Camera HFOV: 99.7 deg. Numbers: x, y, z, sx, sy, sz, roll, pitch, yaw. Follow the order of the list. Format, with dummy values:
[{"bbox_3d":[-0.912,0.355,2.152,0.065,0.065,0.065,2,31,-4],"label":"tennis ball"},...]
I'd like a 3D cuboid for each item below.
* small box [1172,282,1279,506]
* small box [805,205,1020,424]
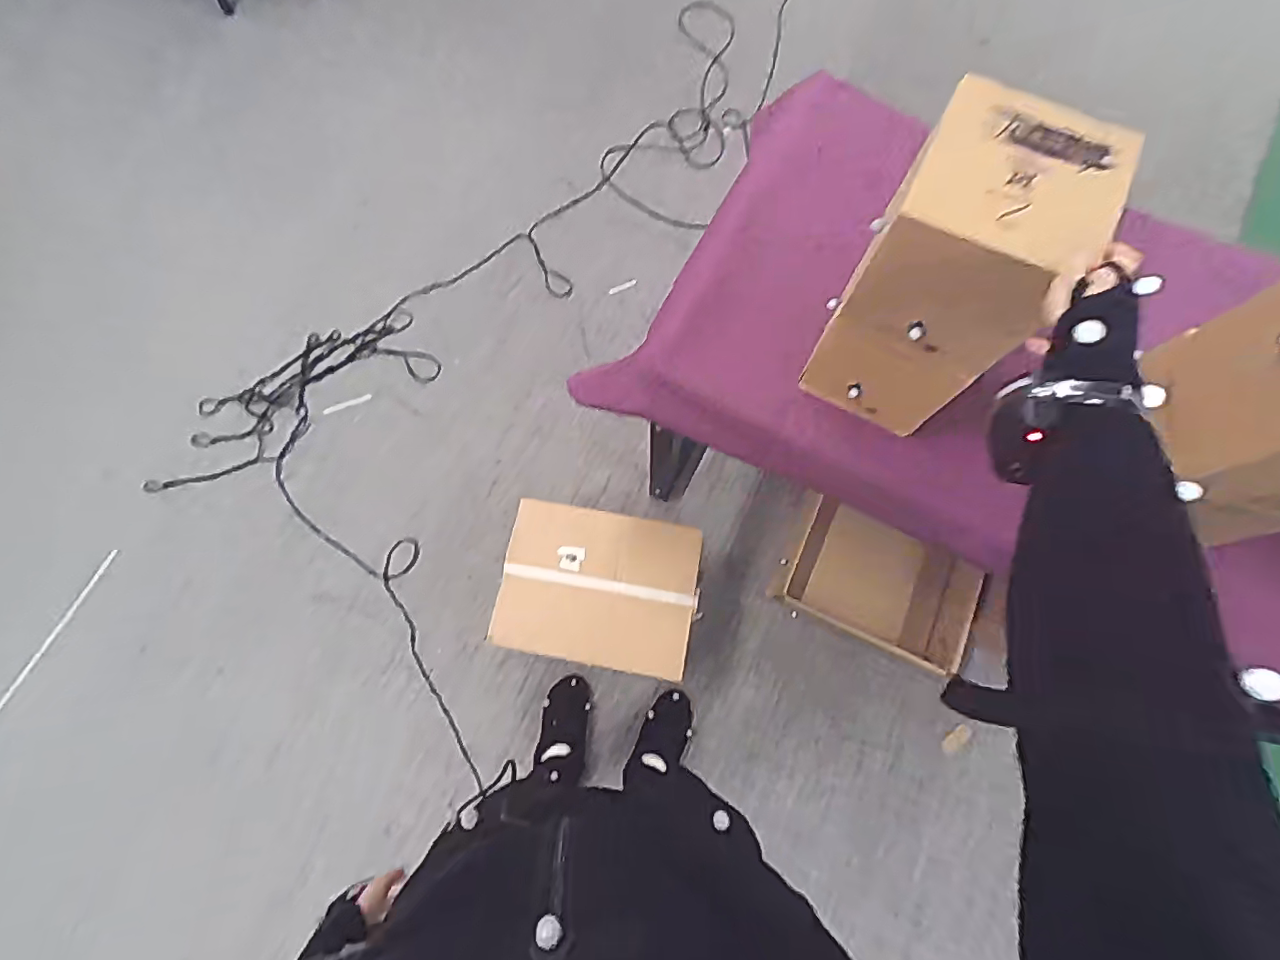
[{"bbox_3d":[0.634,-0.084,0.483,0.168,0.176,0.179,16,73,7],"label":"small box"},{"bbox_3d":[0.337,-0.203,0.701,0.168,0.176,0.179,27,76,9],"label":"small box"}]
